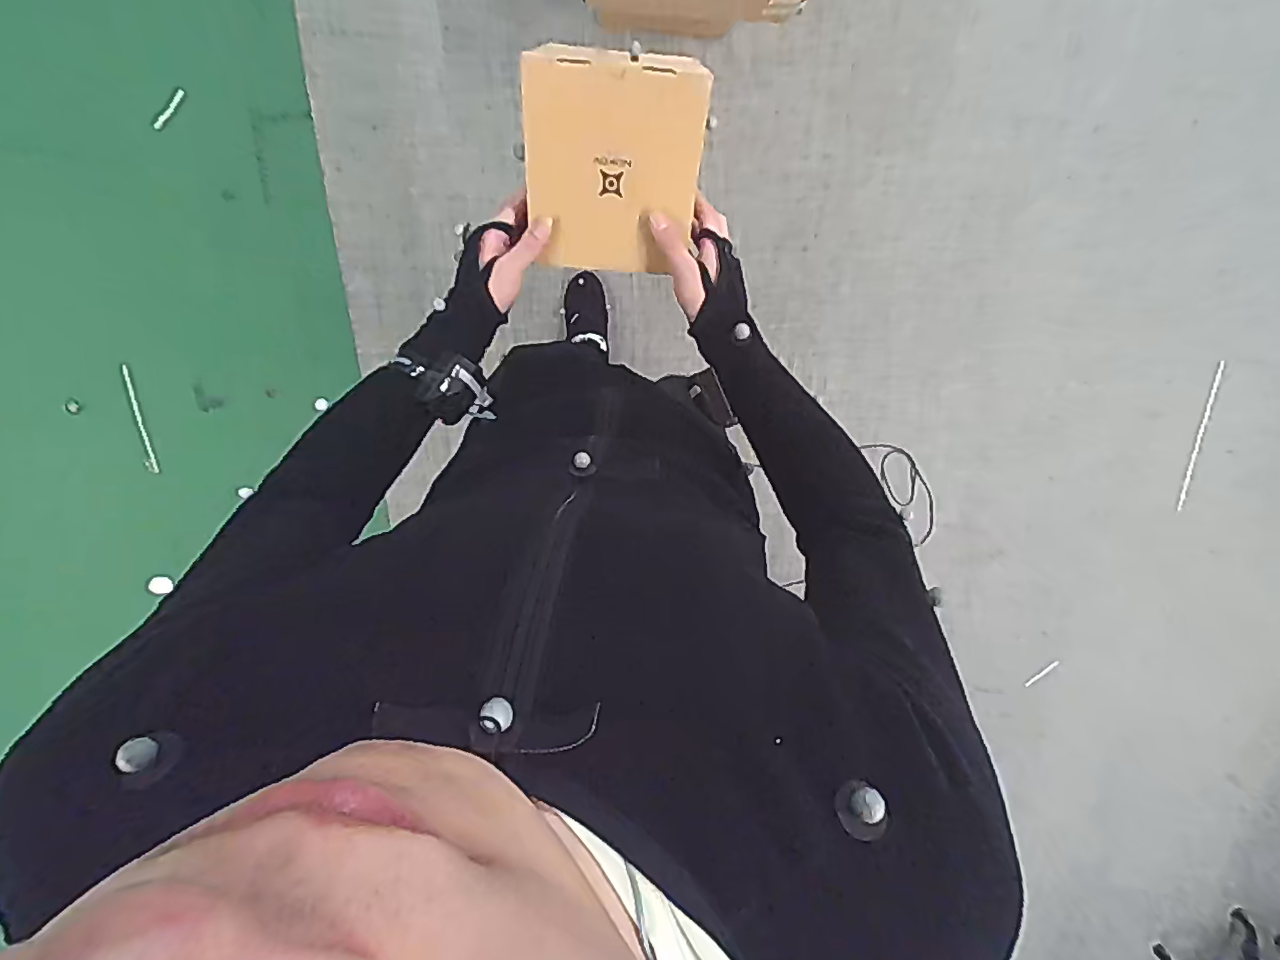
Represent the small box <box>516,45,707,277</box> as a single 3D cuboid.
[{"bbox_3d":[-0.029,-0.336,0.568,0.168,0.176,0.179,4,129,-3],"label":"small box"}]
